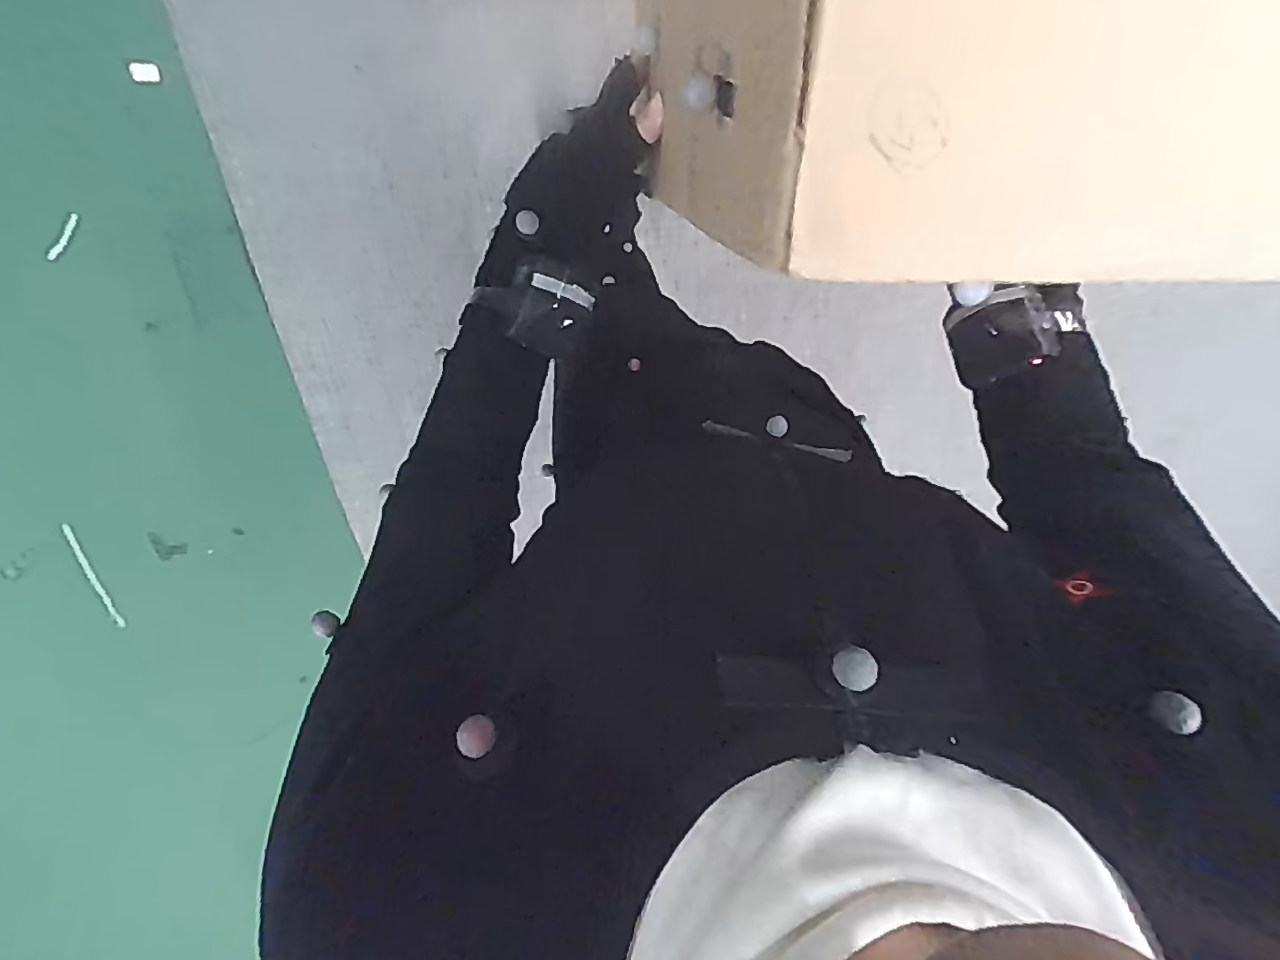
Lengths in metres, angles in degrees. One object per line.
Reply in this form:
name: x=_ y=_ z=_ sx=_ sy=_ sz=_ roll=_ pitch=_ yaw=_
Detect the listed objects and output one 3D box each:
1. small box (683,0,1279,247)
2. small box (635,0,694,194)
small box: x=0.110 y=-0.175 z=0.173 sx=0.179 sy=0.176 sz=0.168 roll=-3 pitch=123 yaw=-4
small box: x=0.083 y=-0.344 z=0.450 sx=0.168 sy=0.176 sz=0.179 roll=-2 pitch=122 yaw=-2
